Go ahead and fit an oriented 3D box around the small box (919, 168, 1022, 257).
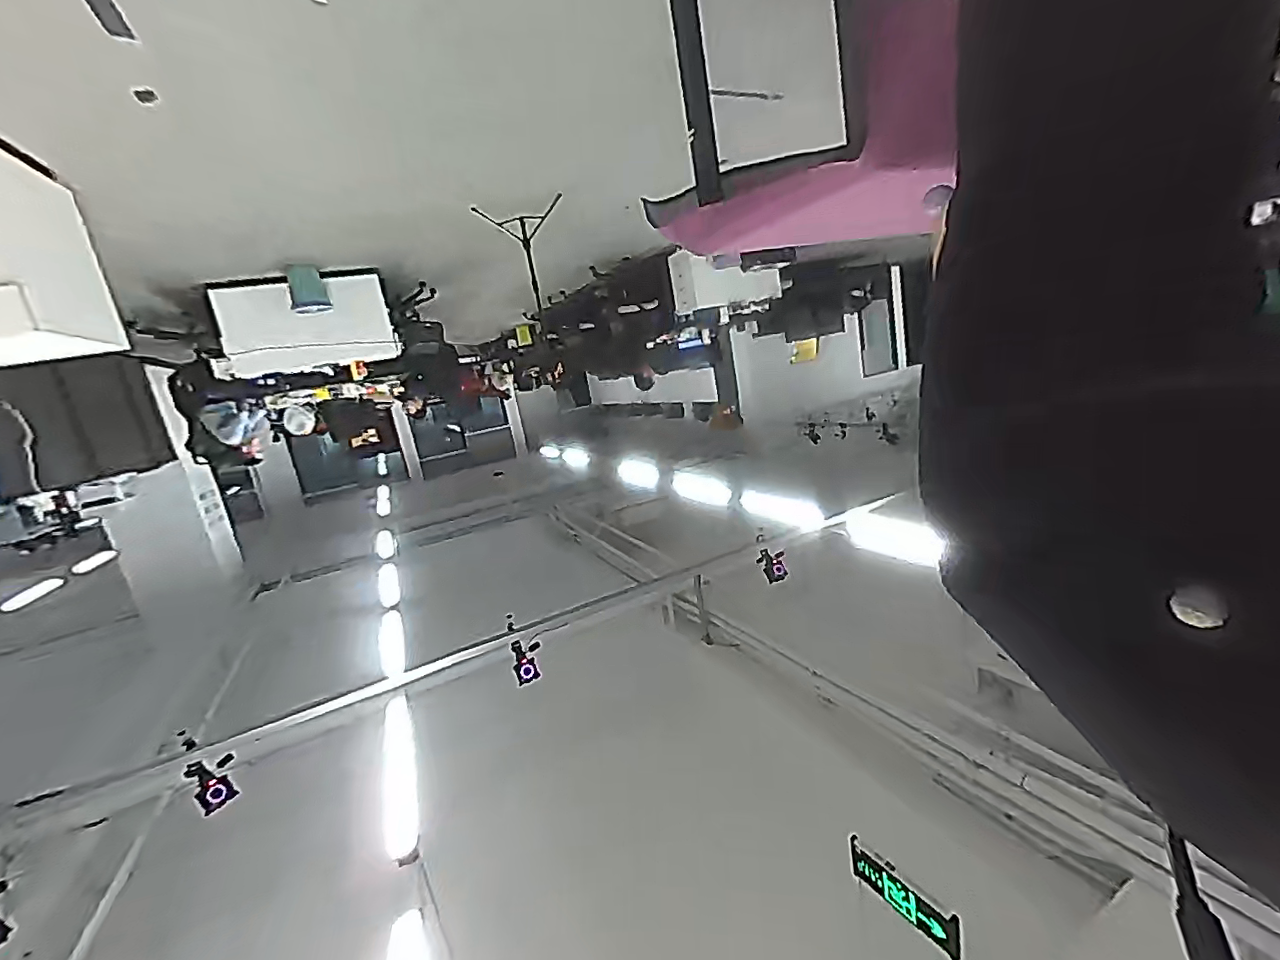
[{"bbox_3d":[0.875,-0.711,1.438,0.179,0.176,0.168,-15,-167,-14],"label":"small box"}]
